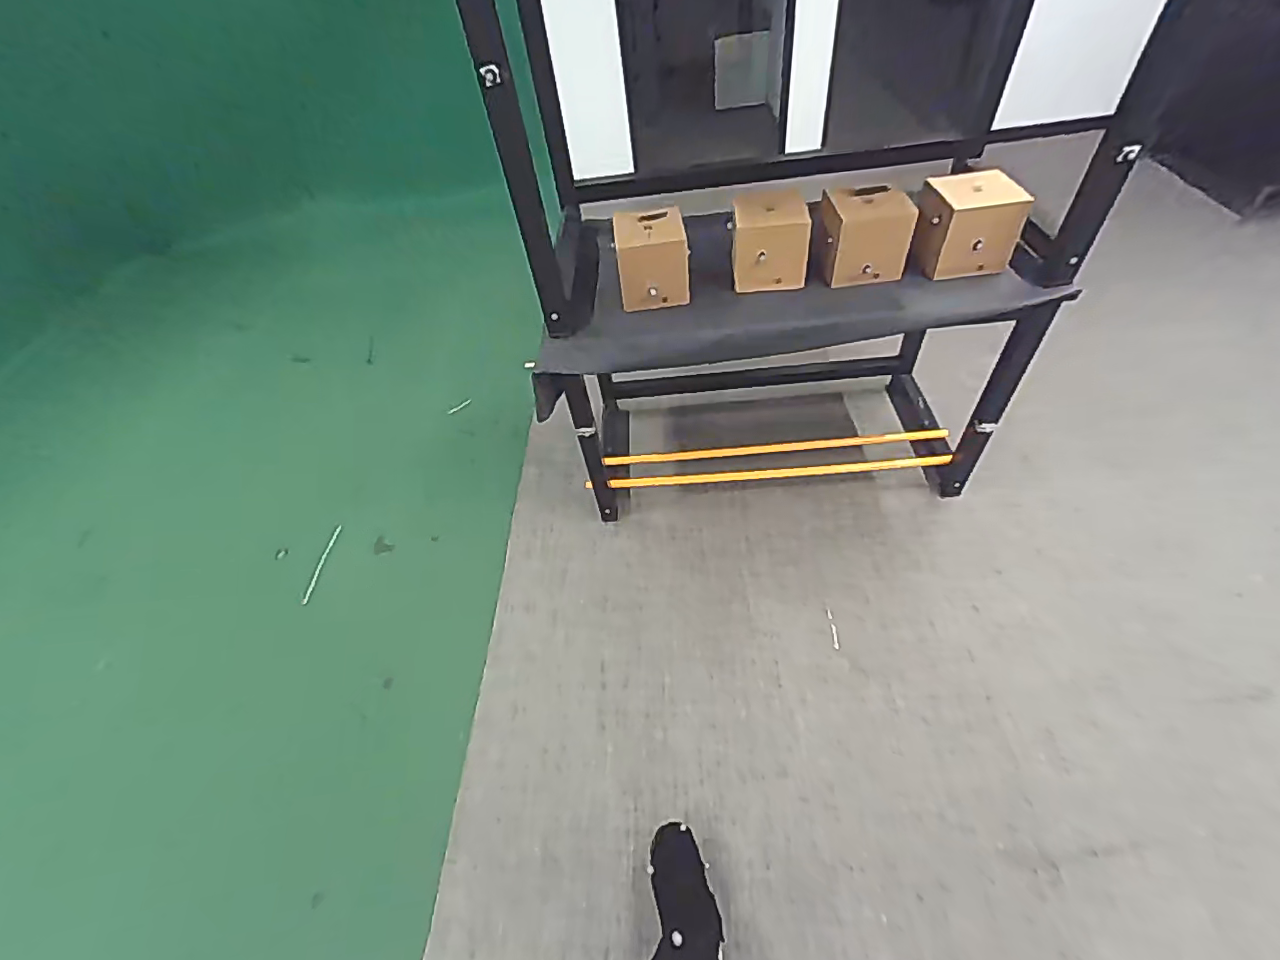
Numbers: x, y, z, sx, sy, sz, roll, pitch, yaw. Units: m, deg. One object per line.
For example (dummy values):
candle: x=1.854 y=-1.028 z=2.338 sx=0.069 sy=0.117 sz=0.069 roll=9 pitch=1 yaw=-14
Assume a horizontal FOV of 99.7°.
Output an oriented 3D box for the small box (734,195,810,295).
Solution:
small box: x=0.318 y=-0.572 z=1.332 sx=0.168 sy=0.176 sz=0.179 roll=-2 pitch=49 yaw=7

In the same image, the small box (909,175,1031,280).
small box: x=0.762 y=-0.585 z=1.270 sx=0.168 sy=0.176 sz=0.179 roll=-6 pitch=48 yaw=3

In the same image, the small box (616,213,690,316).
small box: x=0.032 y=-0.531 z=1.337 sx=0.168 sy=0.176 sz=0.179 roll=-7 pitch=50 yaw=2
